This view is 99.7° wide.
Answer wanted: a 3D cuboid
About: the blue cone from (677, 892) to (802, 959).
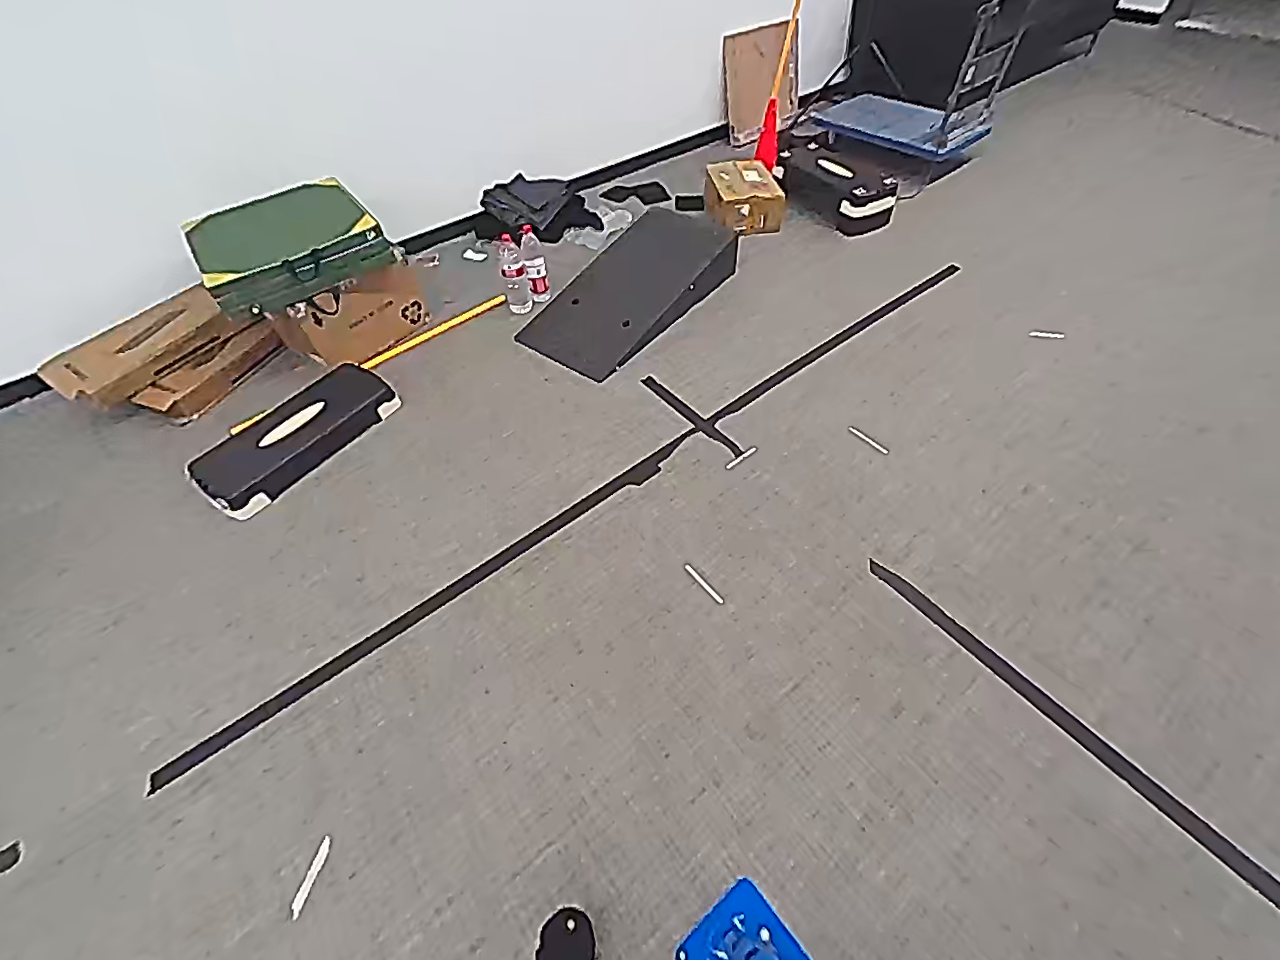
[{"bbox_3d":[0.180,0.796,0.864,0.192,0.380,0.193,-32,55,-20],"label":"blue cone"}]
